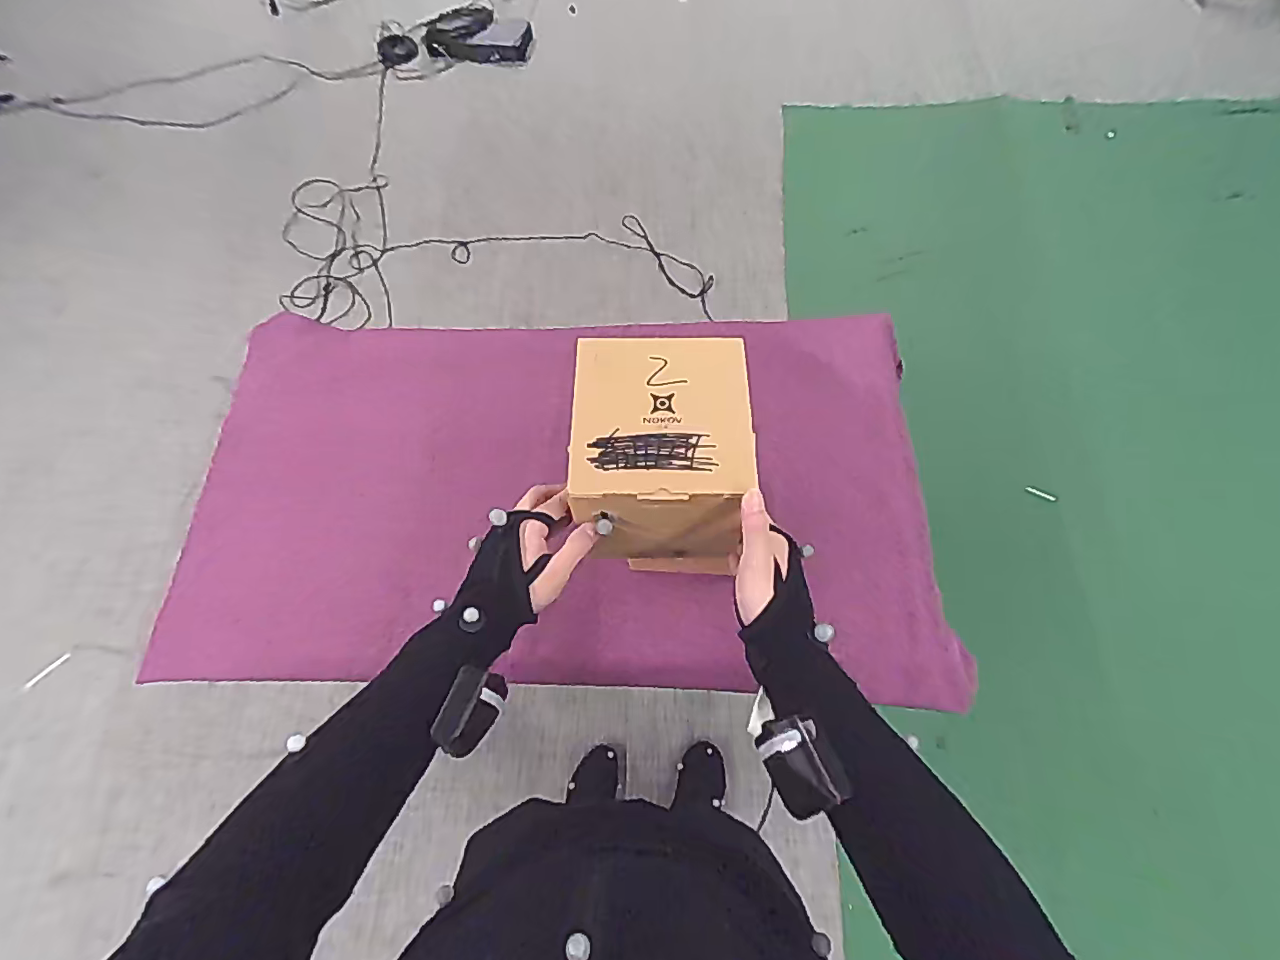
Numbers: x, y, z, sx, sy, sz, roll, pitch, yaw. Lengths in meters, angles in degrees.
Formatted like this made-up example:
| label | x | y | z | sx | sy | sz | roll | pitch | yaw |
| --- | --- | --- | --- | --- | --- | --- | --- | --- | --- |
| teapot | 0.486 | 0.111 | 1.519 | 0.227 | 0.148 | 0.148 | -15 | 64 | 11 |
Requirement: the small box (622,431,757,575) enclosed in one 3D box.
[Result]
| label | x | y | z | sx | sy | sz | roll | pitch | yaw |
| --- | --- | --- | --- | --- | --- | --- | --- | --- | --- |
| small box | 0.073 | 0.041 | 0.799 | 0.179 | 0.176 | 0.168 | 3 | 68 | 4 |
